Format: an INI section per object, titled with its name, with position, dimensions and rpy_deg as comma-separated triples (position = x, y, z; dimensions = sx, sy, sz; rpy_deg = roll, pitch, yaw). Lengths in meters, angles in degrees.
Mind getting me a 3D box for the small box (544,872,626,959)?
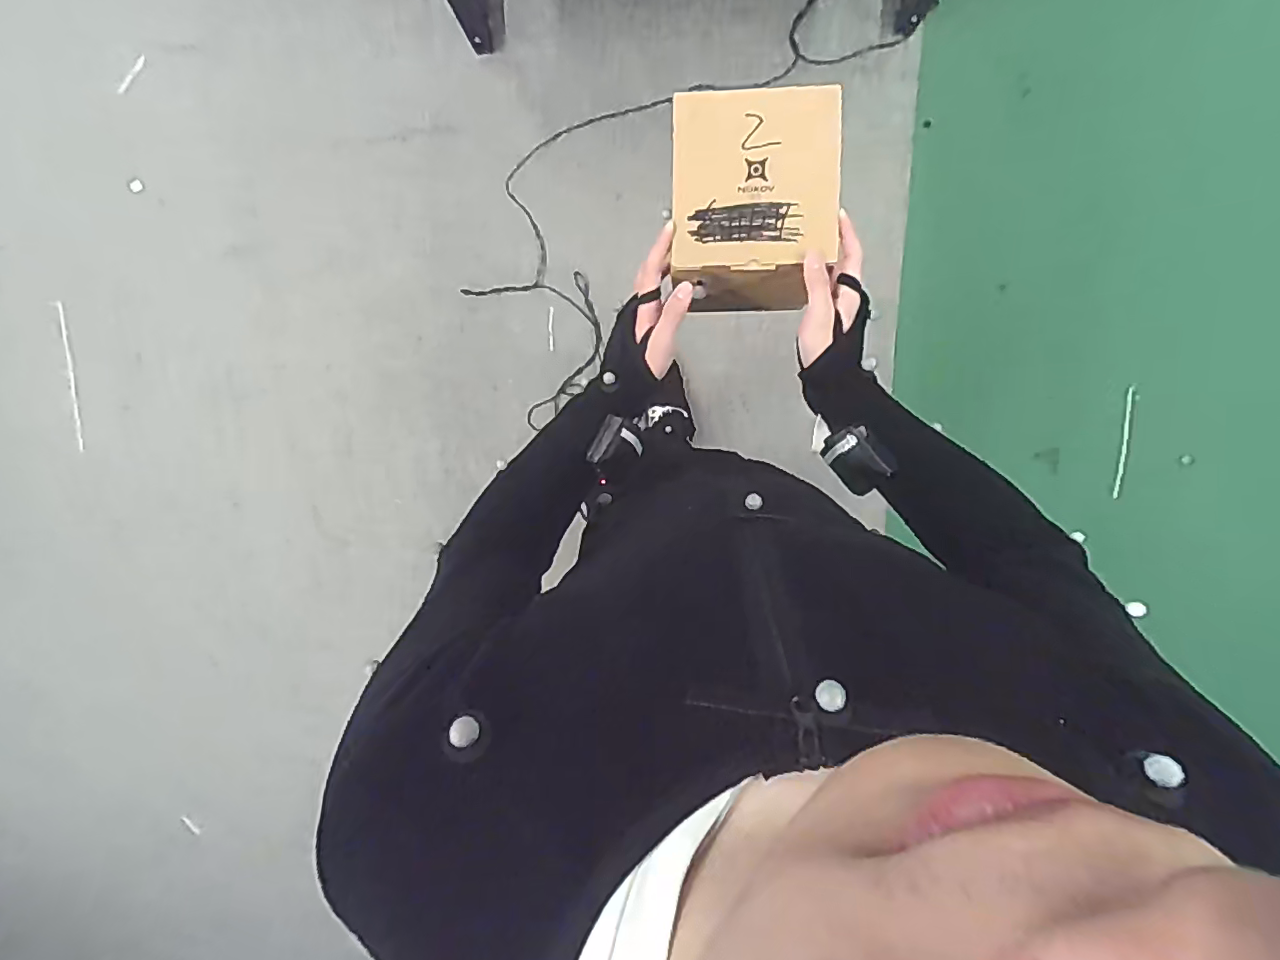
[small box]
position = -0.125, 1.050, 1.283
dimensions = 0.168, 0.176, 0.179
rpy_deg = 3, 97, 4
